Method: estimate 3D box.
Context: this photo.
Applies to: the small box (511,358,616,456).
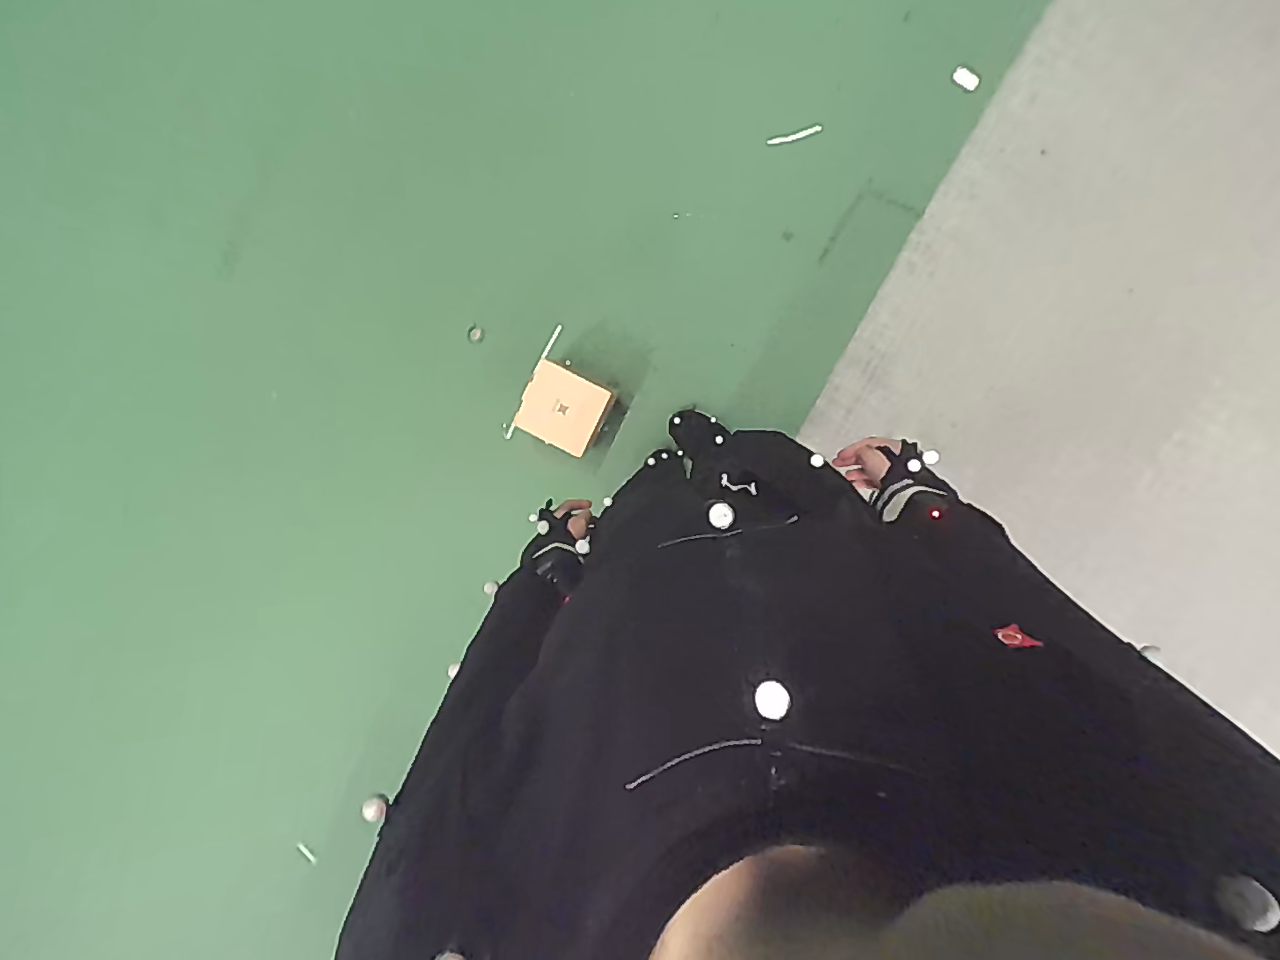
[{"bbox_3d":[-0.172,-0.173,1.272,0.179,0.176,0.168,26,102,-2],"label":"small box"}]
